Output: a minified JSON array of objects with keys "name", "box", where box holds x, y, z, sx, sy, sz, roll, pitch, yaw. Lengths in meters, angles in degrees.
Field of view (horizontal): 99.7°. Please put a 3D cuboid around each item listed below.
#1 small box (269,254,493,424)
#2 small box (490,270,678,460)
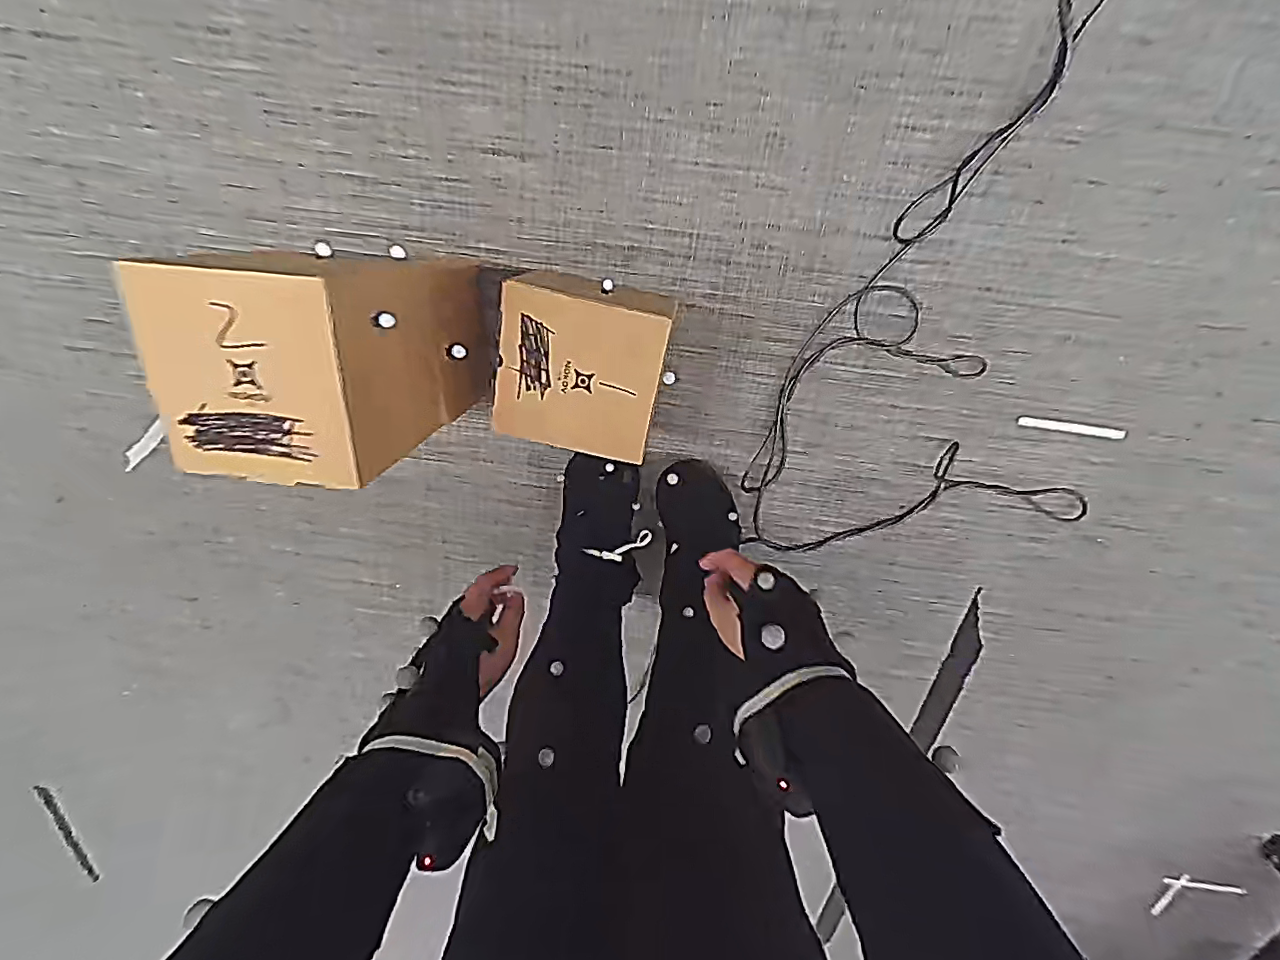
[{"name":"small box","box":[-0.290,-0.176,0.649,0.168,0.176,0.179,1,115,5]},{"name":"small box","box":[-0.058,-0.145,0.639,0.179,0.176,0.168,13,115,-1]}]
